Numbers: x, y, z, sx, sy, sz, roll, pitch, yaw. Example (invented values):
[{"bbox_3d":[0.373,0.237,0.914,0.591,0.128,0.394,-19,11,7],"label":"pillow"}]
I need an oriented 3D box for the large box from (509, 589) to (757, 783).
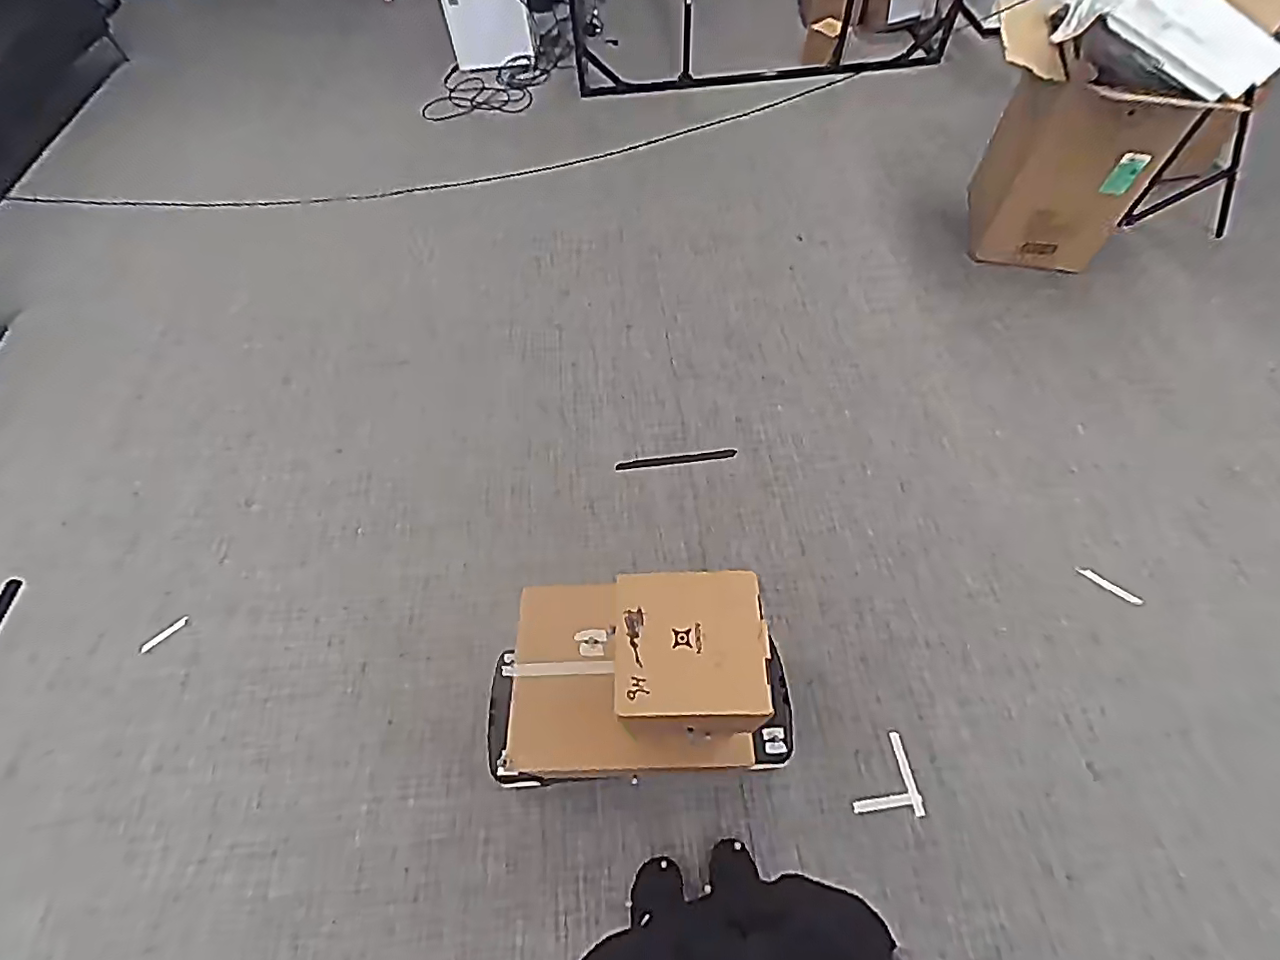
[{"bbox_3d":[-0.007,0.409,1.059,0.408,0.320,0.320,-3,58,2],"label":"large box"}]

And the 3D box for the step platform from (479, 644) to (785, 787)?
[{"bbox_3d":[-0.016,0.543,1.257,0.684,0.204,0.286,-1,59,4],"label":"step platform"}]

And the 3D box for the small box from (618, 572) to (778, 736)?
[{"bbox_3d":[0.064,0.225,0.688,0.179,0.176,0.168,-1,58,1],"label":"small box"}]
